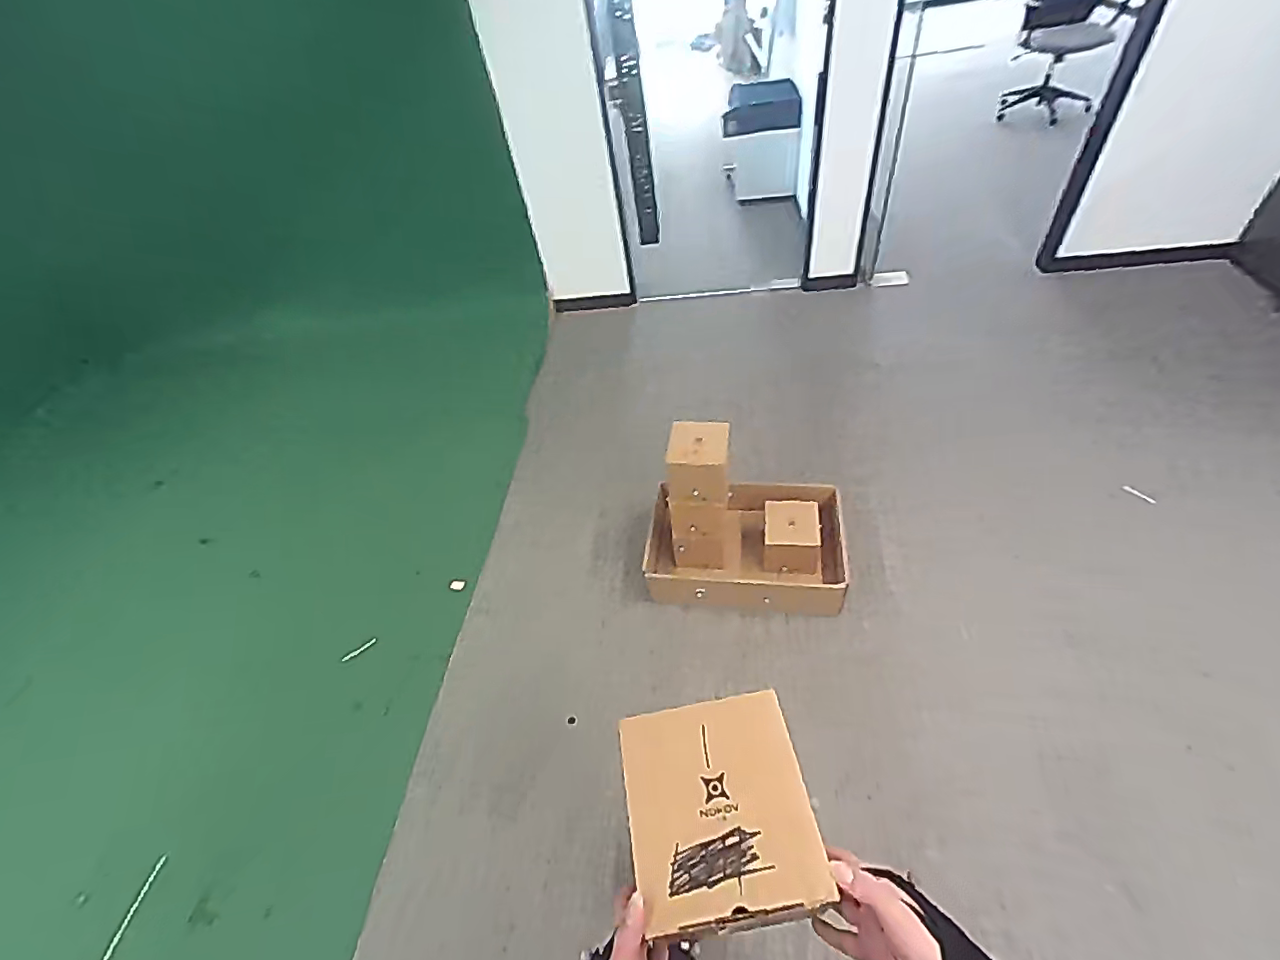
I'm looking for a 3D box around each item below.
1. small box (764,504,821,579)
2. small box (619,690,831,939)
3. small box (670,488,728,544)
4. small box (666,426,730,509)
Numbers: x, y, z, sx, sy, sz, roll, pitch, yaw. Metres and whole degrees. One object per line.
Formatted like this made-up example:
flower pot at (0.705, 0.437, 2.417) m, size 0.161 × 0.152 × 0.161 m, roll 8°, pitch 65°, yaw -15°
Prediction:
small box at (0.490, 0.200, 1.752) m, size 0.168 × 0.176 × 0.179 m, roll 1°, pitch 48°, yaw 13°
small box at (0.080, 0.344, 0.551) m, size 0.168 × 0.176 × 0.179 m, roll -11°, pitch 45°, yaw 1°
small box at (0.189, 0.079, 1.698) m, size 0.168 × 0.176 × 0.179 m, roll 2°, pitch 47°, yaw 12°
small box at (0.173, -0.037, 1.582) m, size 0.168 × 0.176 × 0.179 m, roll 2°, pitch 47°, yaw 12°
